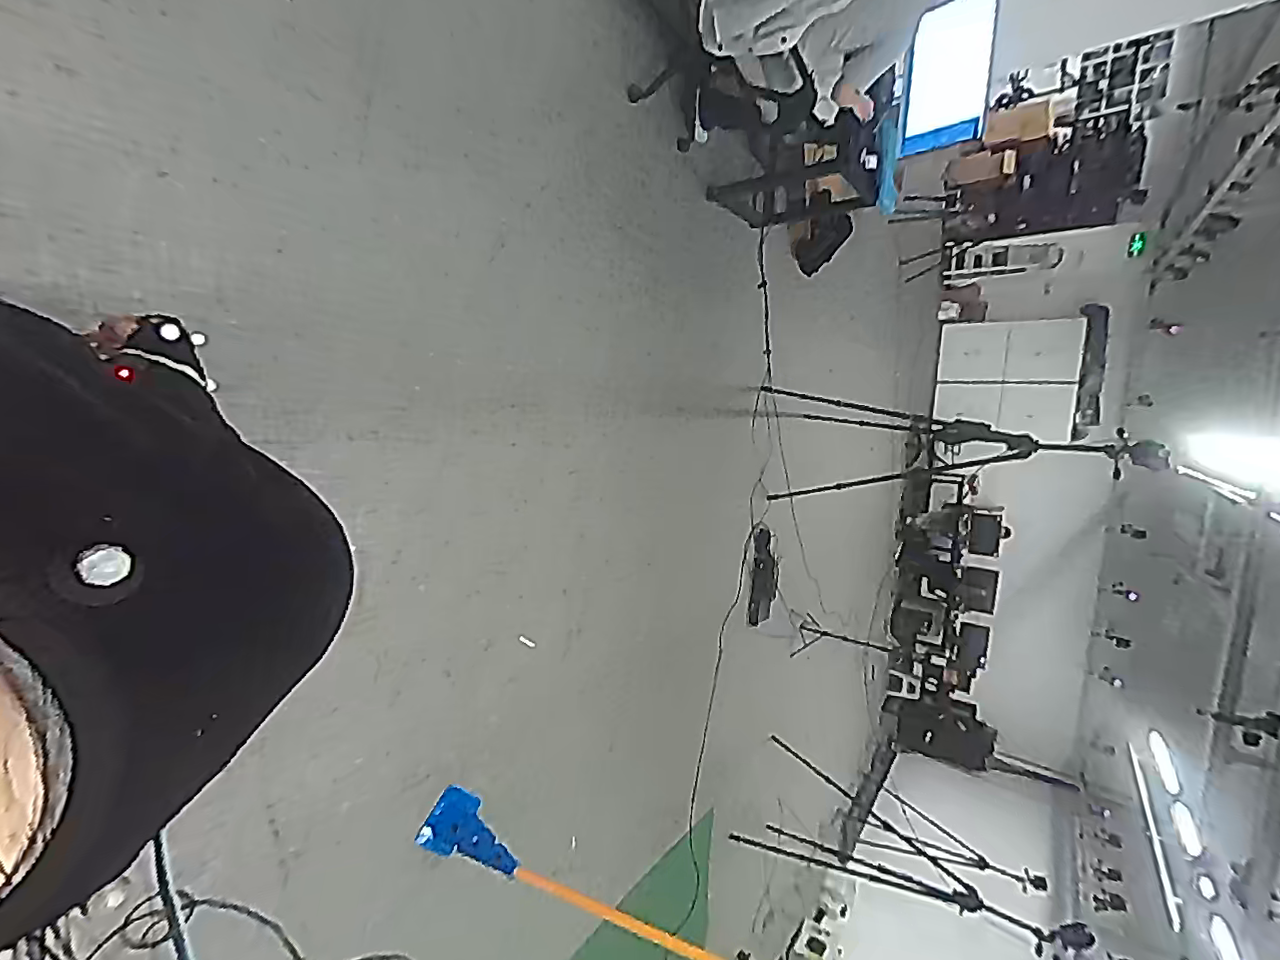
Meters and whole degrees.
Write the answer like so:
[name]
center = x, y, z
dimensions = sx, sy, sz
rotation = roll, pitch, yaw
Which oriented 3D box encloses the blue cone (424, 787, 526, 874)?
[blue cone]
center = -0.527, 1.208, 1.810
dimensions = 0.193, 0.380, 0.192
rotation = -60, 137, -30
